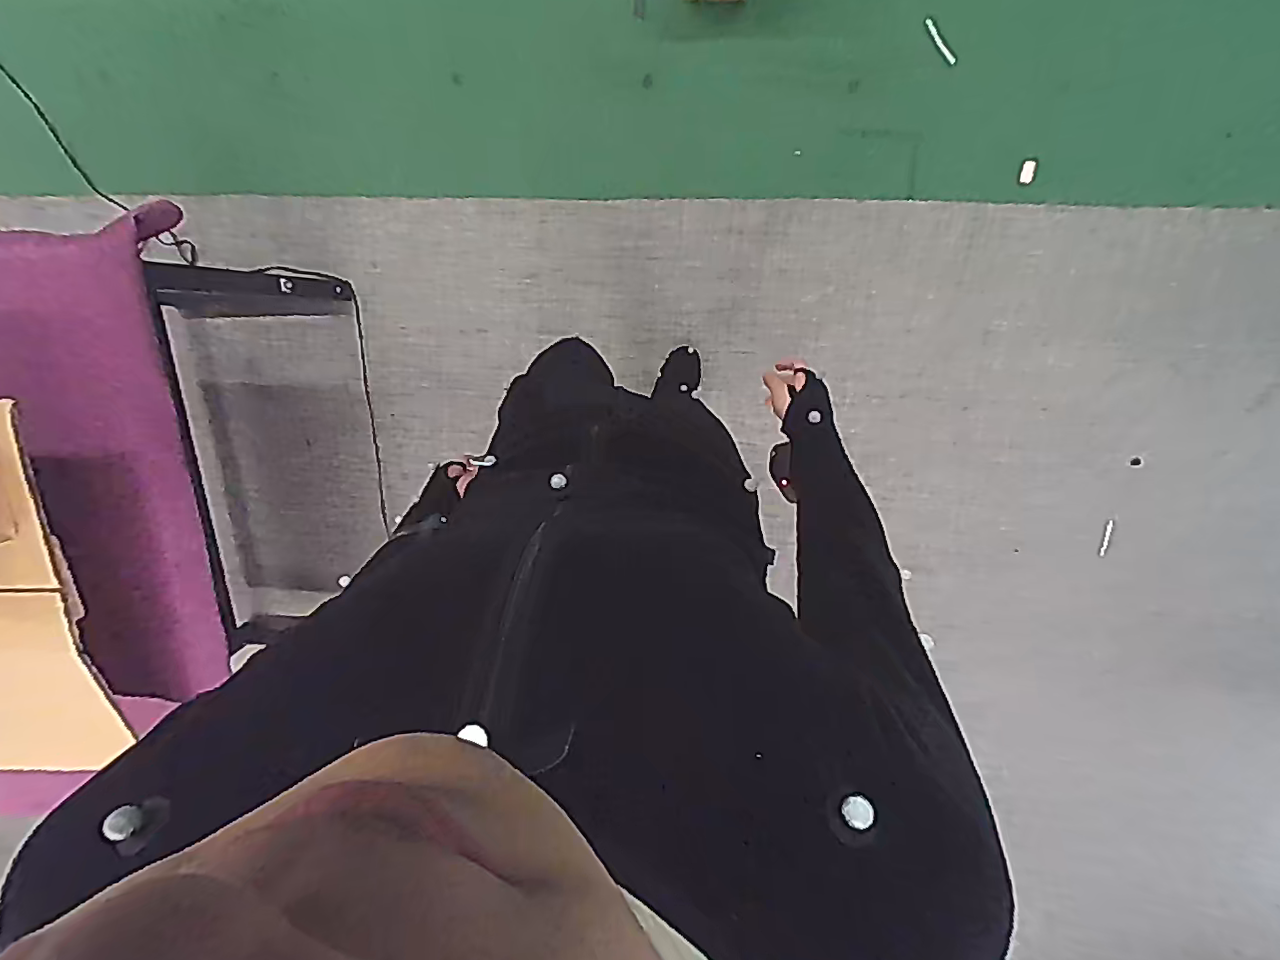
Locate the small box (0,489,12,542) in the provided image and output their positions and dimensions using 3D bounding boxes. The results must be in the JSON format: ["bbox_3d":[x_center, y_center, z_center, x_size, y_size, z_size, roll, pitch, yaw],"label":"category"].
[{"bbox_3d":[-1.036,0.033,0.727,0.179,0.176,0.168,-1,103,4],"label":"small box"}]
